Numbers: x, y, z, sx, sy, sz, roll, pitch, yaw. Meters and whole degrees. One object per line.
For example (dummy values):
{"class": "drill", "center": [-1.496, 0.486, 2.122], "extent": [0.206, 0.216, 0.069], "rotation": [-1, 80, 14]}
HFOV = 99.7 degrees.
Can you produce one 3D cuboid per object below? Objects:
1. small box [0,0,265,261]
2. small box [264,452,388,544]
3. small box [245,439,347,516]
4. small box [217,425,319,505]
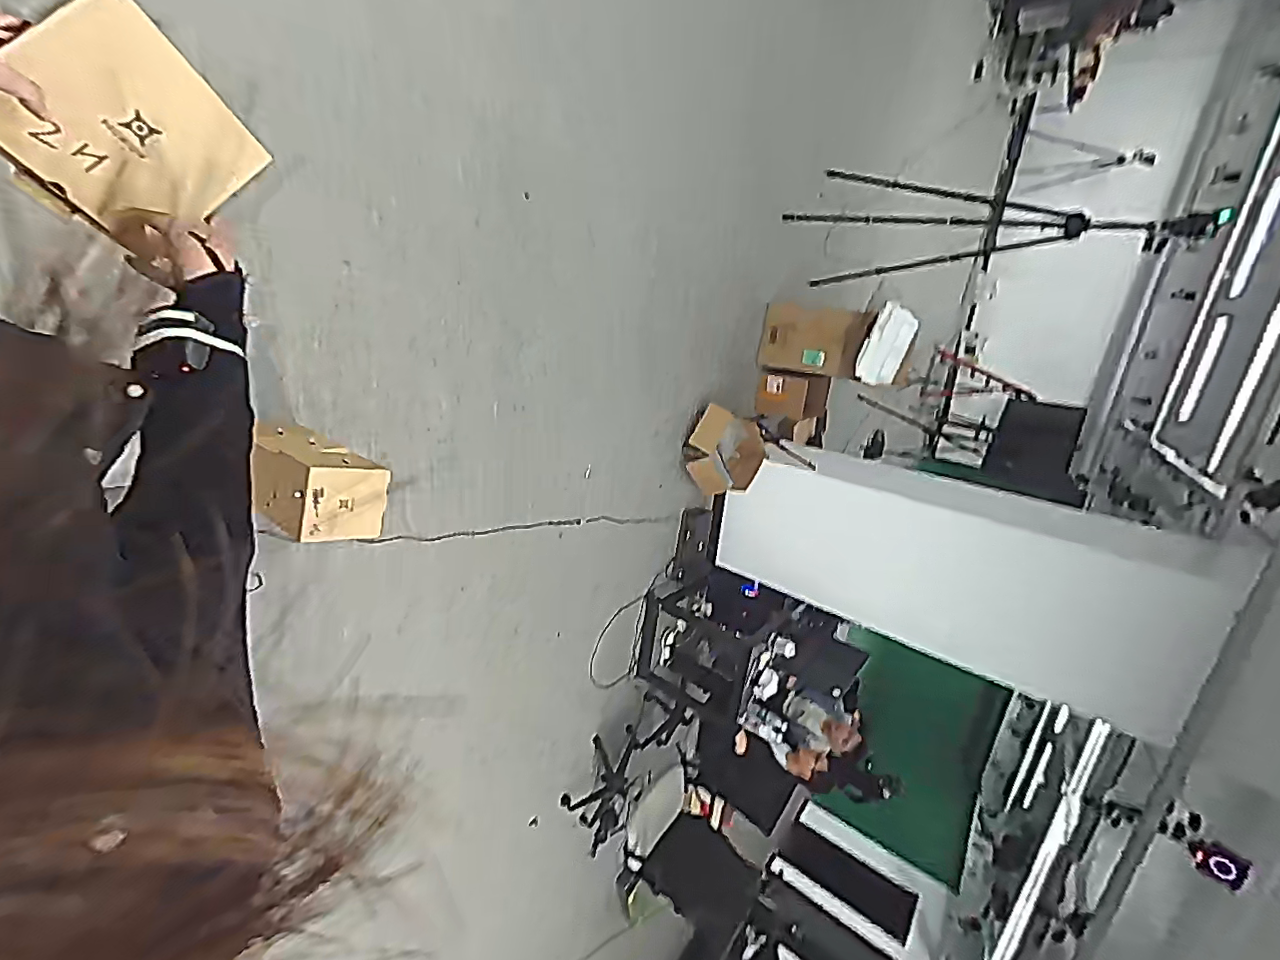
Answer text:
{"class": "small box", "center": [-0.546, -0.361, 0.550], "extent": [0.179, 0.176, 0.168], "rotation": [-54, 148, -14]}
{"class": "small box", "center": [-0.711, 0.037, 1.226], "extent": [0.179, 0.176, 0.168], "rotation": [2, 103, -56]}
{"class": "small box", "center": [-0.840, -0.003, 1.319], "extent": [0.168, 0.176, 0.179], "rotation": [-10, 113, -53]}
{"class": "small box", "center": [-0.967, -0.046, 1.410], "extent": [0.179, 0.176, 0.168], "rotation": [-12, 114, -52]}
